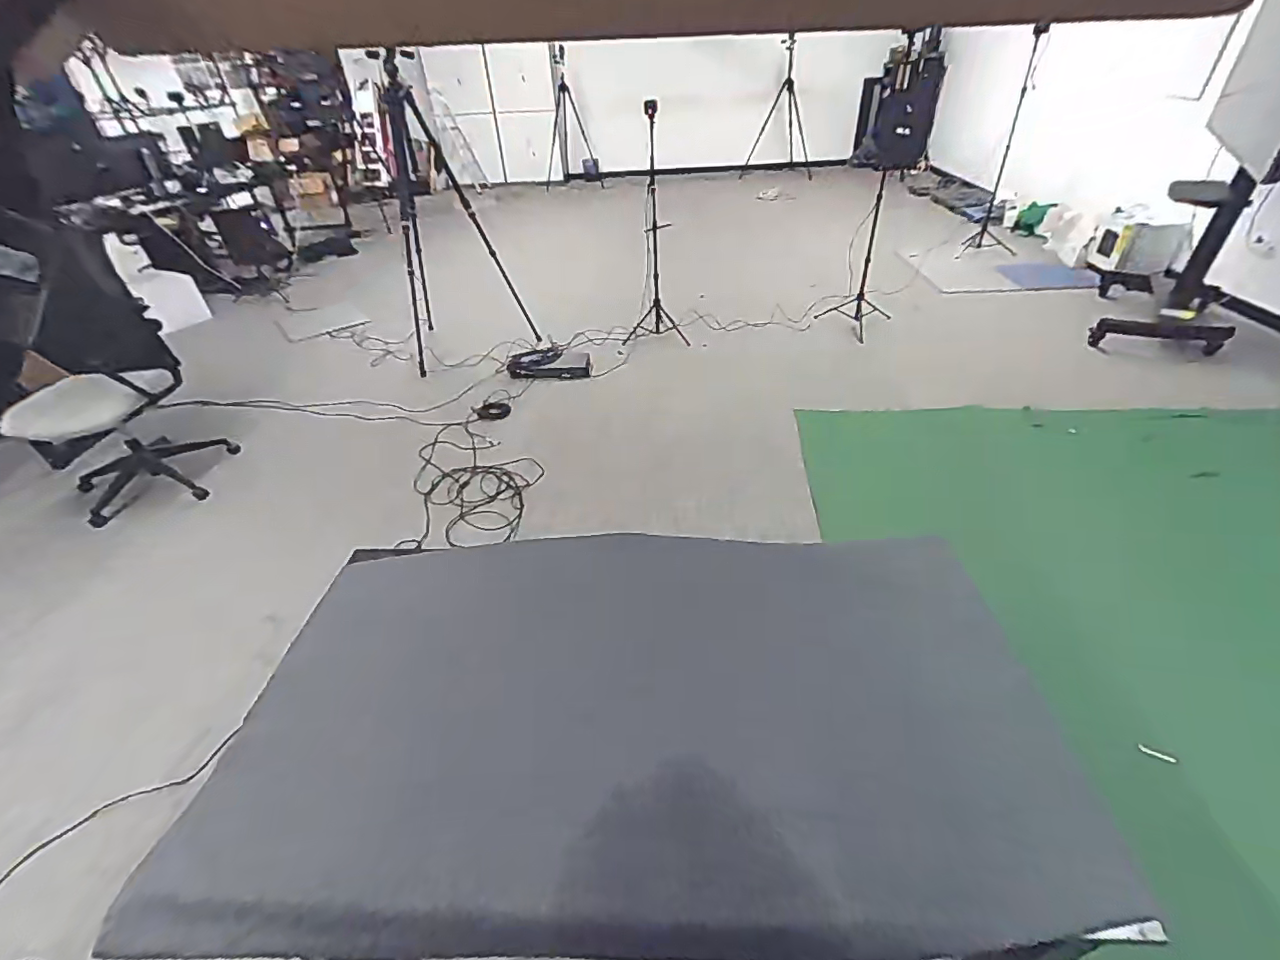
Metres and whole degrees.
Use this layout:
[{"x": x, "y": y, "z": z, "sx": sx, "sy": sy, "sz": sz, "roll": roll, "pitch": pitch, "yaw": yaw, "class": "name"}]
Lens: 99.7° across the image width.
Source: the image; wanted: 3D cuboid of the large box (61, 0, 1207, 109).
[{"x": -0.009, "y": -0.346, "z": 0.133, "sx": 0.408, "sy": 0.320, "sz": 0.320, "roll": 1, "pitch": 68, "yaw": 4, "class": "large box"}]
